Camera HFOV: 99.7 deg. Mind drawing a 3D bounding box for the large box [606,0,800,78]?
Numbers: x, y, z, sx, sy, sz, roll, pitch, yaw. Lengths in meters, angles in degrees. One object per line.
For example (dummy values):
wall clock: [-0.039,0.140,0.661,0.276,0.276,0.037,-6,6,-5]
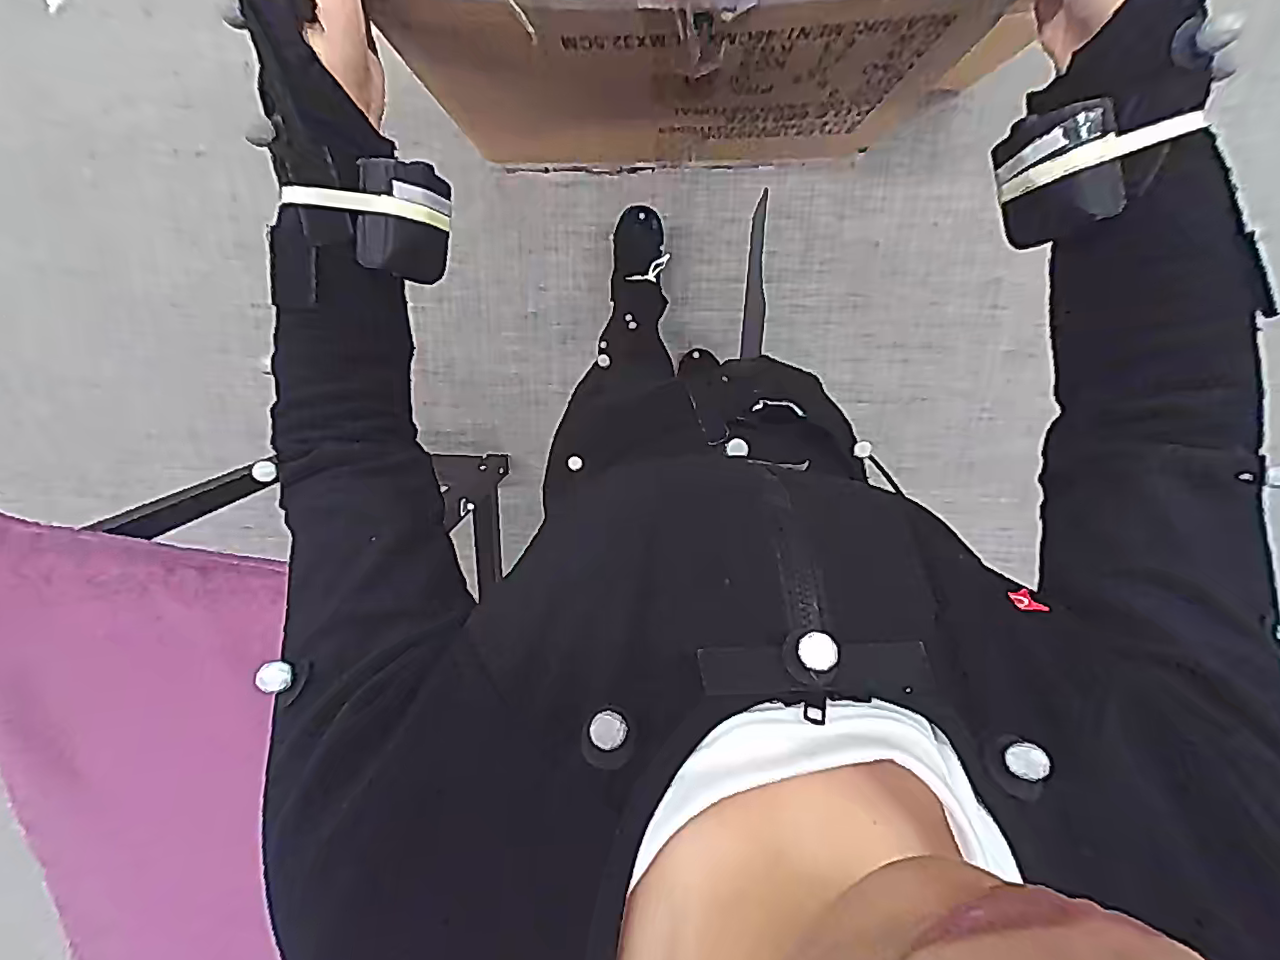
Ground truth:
large box: [0.102,-0.981,0.922,0.320,0.320,0.408,1,109,3]
